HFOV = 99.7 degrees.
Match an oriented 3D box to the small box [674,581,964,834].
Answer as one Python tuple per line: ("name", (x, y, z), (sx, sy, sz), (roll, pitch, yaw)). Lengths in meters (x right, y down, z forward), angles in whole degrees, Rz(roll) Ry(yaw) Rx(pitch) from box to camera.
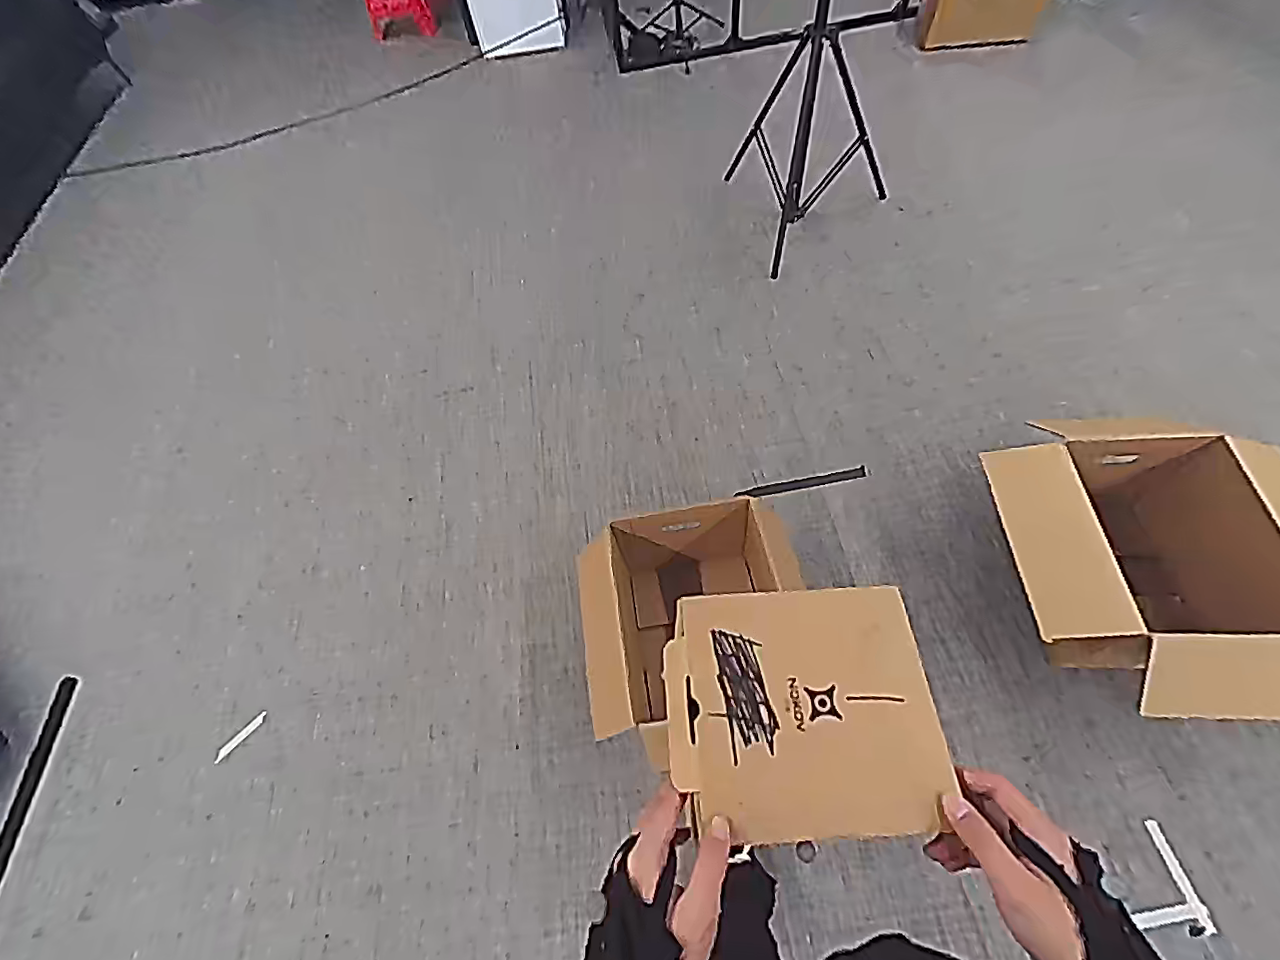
("small box", (0.121, 0.195, 0.452), (0.179, 0.176, 0.168), (-3, 59, 0))
